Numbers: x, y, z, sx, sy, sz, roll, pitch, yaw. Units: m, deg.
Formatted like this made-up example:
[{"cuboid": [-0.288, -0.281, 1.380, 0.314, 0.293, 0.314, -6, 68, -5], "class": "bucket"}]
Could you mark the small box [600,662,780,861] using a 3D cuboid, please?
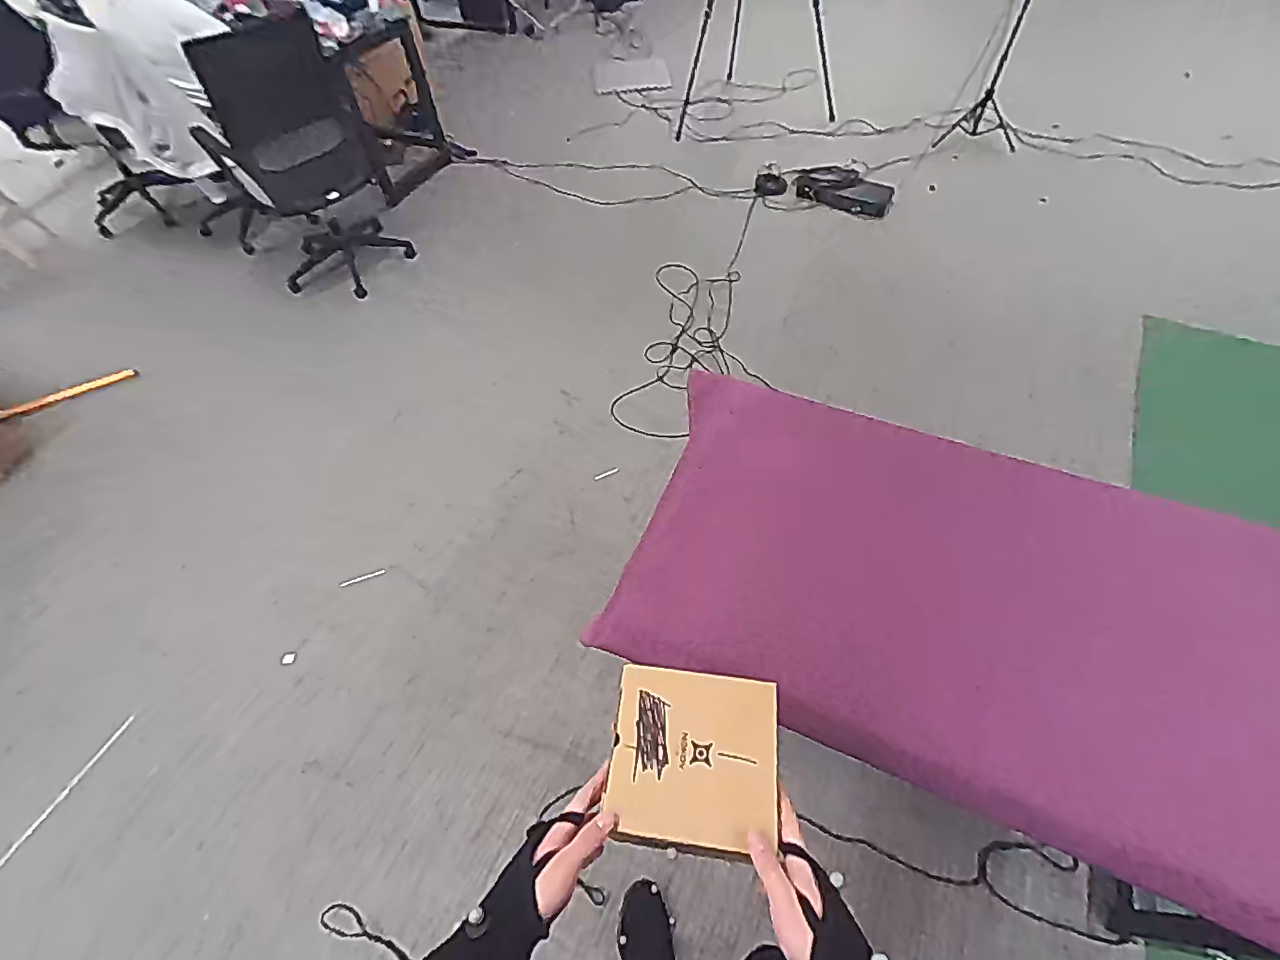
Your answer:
[{"cuboid": [0.062, 0.329, 0.627, 0.179, 0.176, 0.168, 5, 54, 7], "class": "small box"}]
